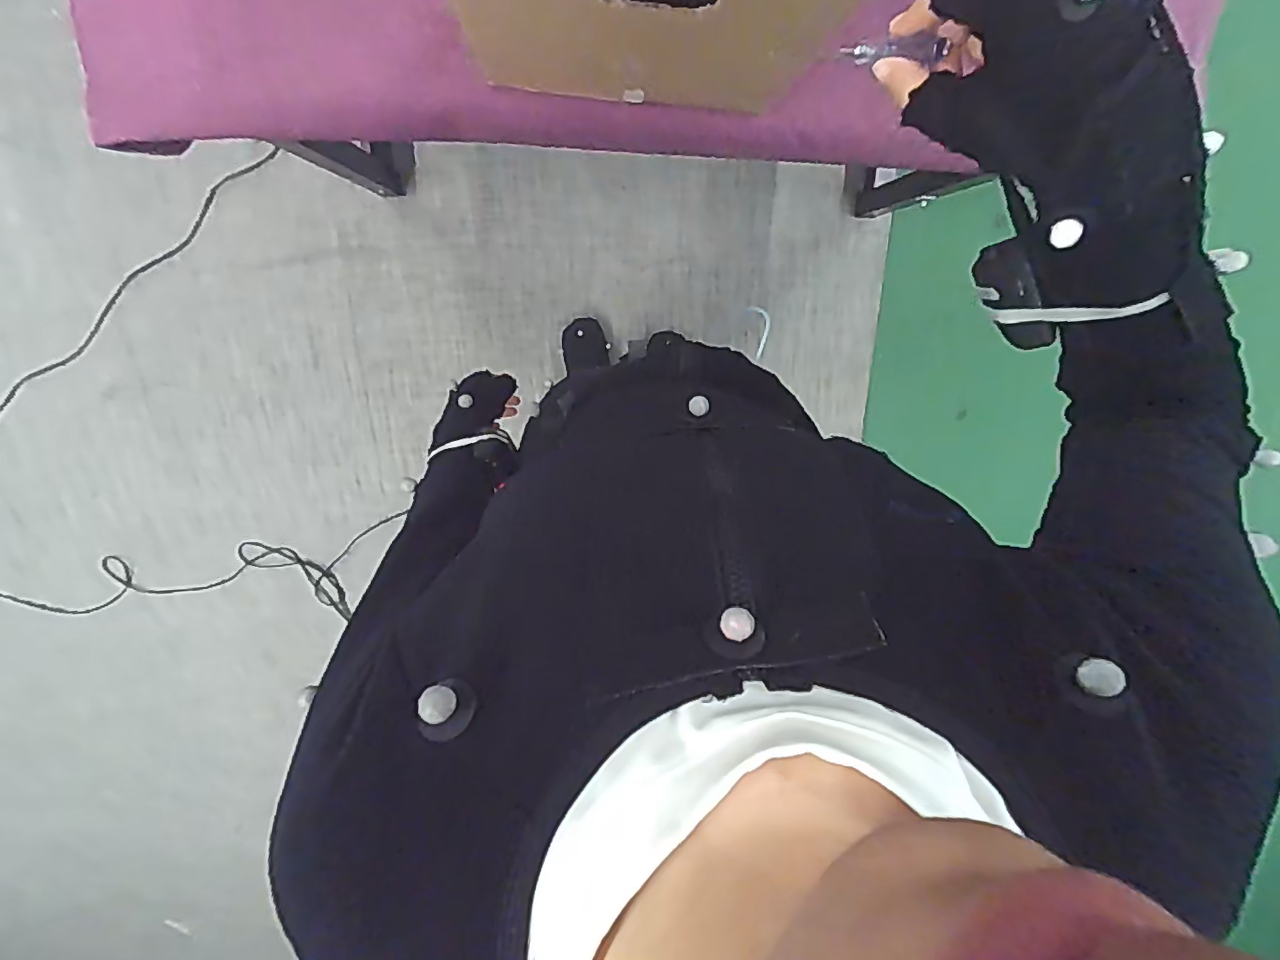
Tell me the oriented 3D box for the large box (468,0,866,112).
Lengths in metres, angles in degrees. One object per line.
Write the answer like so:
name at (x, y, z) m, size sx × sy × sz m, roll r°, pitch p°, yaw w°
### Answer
large box at (0.019, -0.574, 0.412) m, size 0.320 × 0.320 × 0.408 m, roll 3°, pitch 108°, yaw -5°
